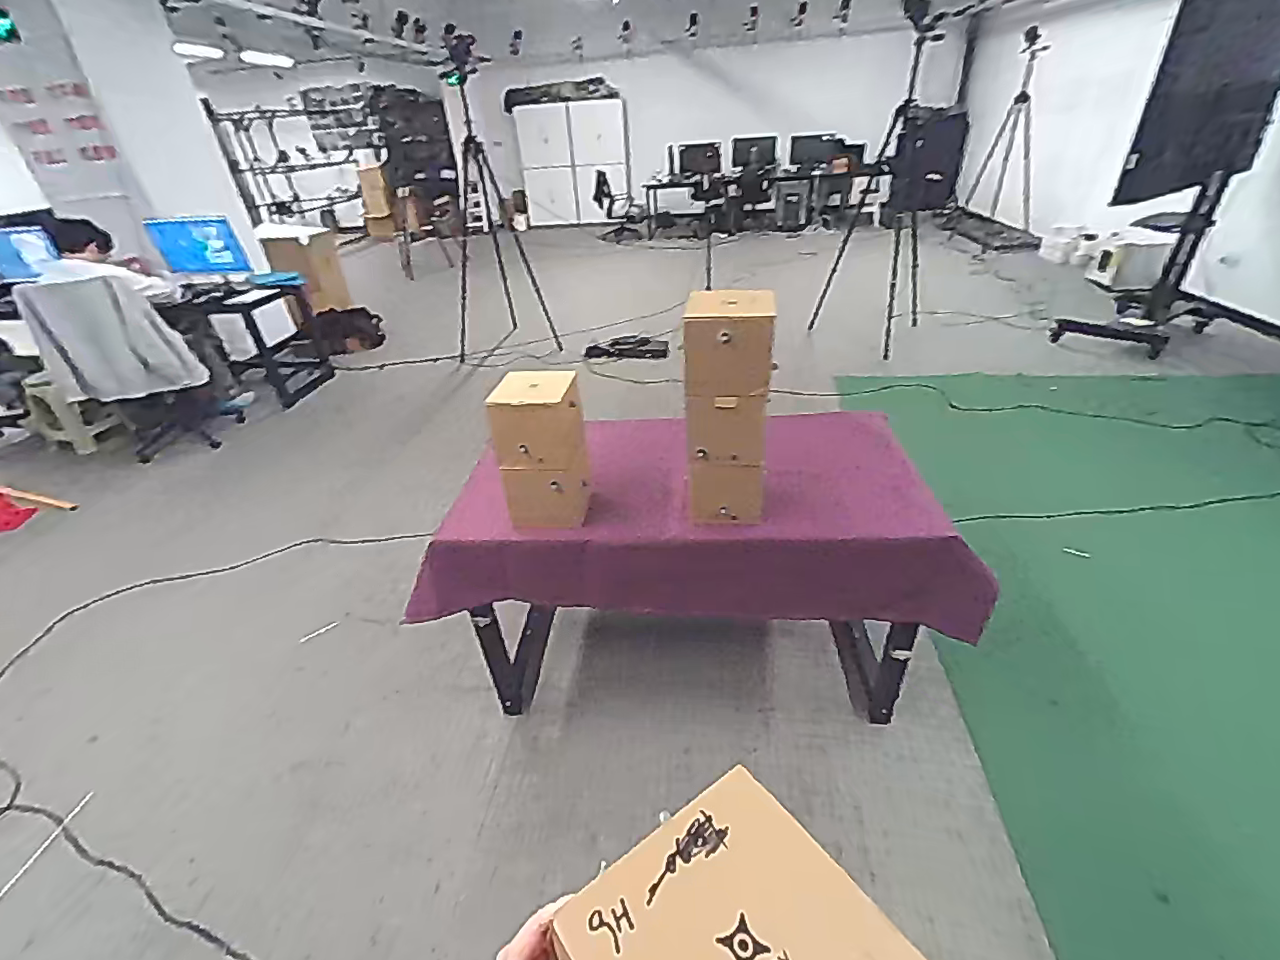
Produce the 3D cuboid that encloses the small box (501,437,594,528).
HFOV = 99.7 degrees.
[{"bbox_3d":[-0.217,0.006,1.331,0.179,0.176,0.168,0,33,8],"label":"small box"}]

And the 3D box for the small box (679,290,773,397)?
[{"bbox_3d":[0.180,-0.280,1.111,0.179,0.176,0.168,2,36,11],"label":"small box"}]

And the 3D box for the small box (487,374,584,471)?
[{"bbox_3d":[-0.231,-0.135,1.250,0.168,0.176,0.179,0,34,8],"label":"small box"}]

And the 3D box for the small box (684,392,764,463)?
[{"bbox_3d":[0.192,-0.148,1.207,0.168,0.176,0.179,1,33,10],"label":"small box"}]
